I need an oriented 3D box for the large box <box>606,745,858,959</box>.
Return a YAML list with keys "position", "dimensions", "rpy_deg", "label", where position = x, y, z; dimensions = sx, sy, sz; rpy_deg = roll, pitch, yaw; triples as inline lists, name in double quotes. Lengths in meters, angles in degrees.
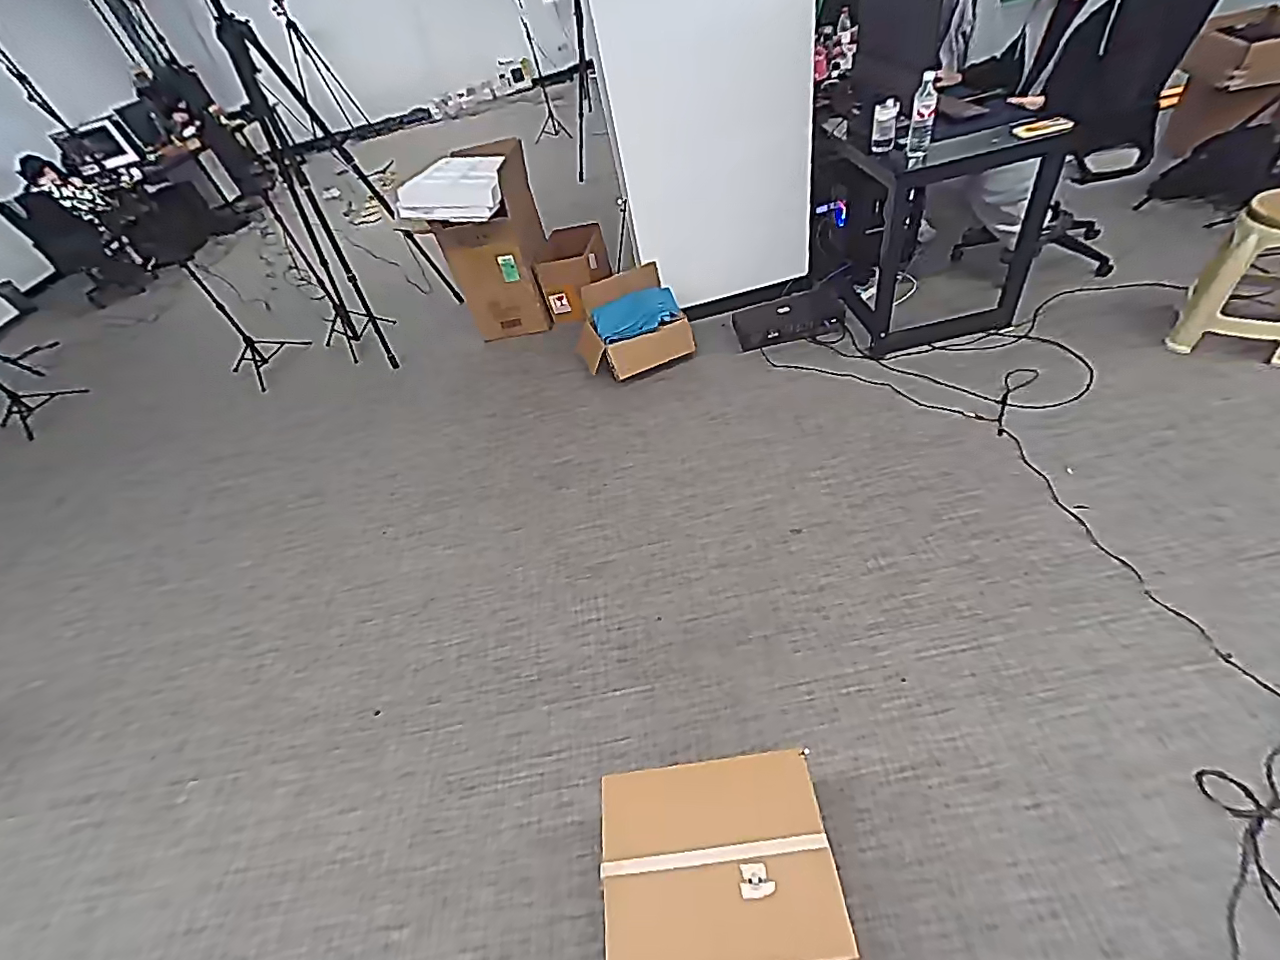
- position: [0.164, 0.767, 1.068]
  dimensions: [0.408, 0.320, 0.320]
  rpy_deg: [-10, 45, 4]
  label: "large box"
